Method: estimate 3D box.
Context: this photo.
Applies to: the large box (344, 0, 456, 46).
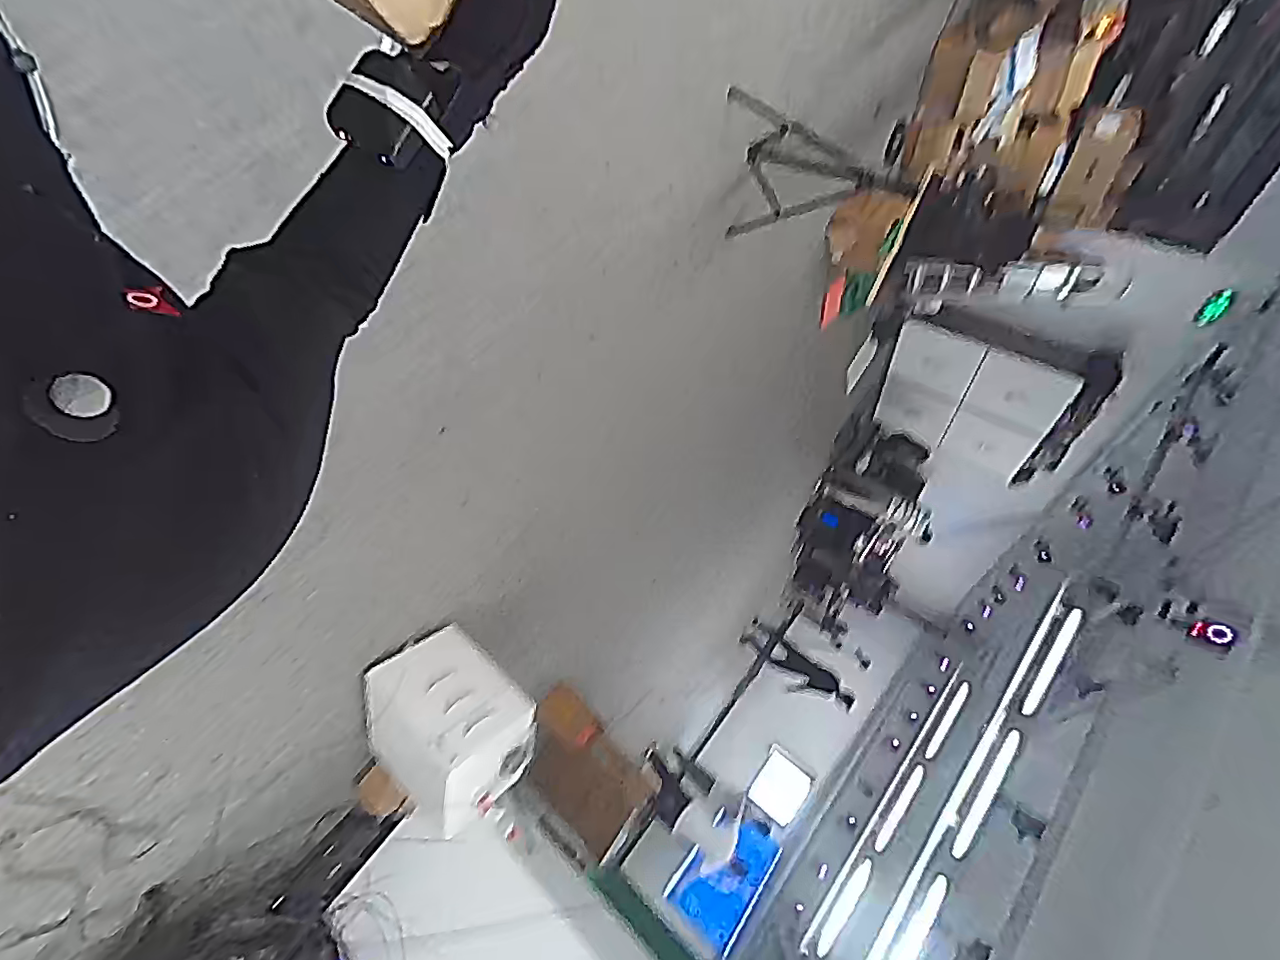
[{"bbox_3d":[-0.254,-0.586,0.294,0.320,0.320,0.408,-47,156,8],"label":"large box"}]
